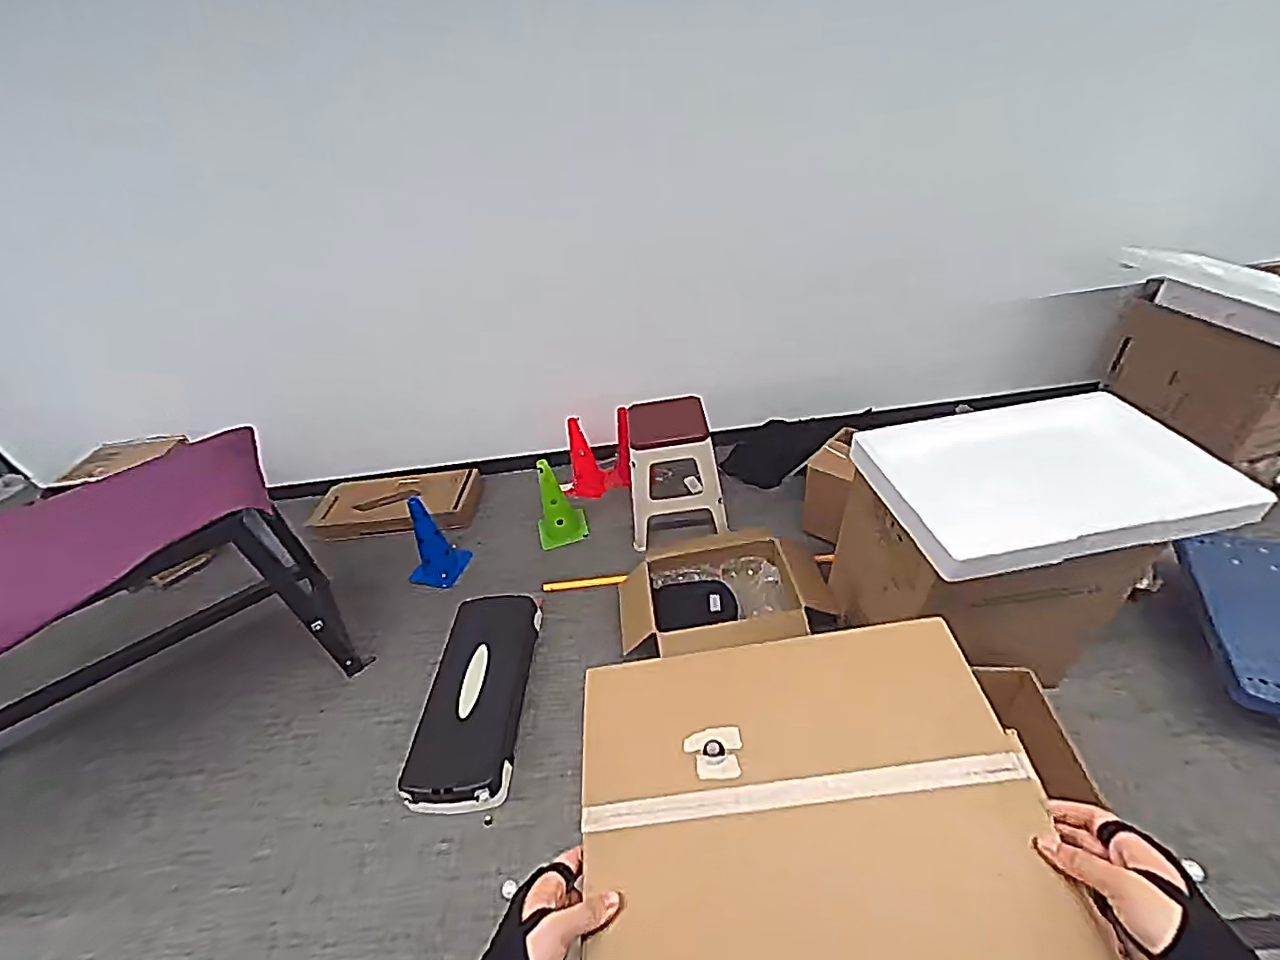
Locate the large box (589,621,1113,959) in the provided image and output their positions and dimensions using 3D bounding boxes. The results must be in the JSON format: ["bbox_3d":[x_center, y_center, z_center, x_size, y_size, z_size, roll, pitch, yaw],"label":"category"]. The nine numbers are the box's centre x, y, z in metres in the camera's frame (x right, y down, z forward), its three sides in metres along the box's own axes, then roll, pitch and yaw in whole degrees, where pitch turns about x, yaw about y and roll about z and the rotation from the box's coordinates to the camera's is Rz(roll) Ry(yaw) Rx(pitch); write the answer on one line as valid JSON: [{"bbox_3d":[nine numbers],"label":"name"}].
[{"bbox_3d":[0.178,0.405,0.611,0.408,0.320,0.320,-12,42,7],"label":"large box"}]
